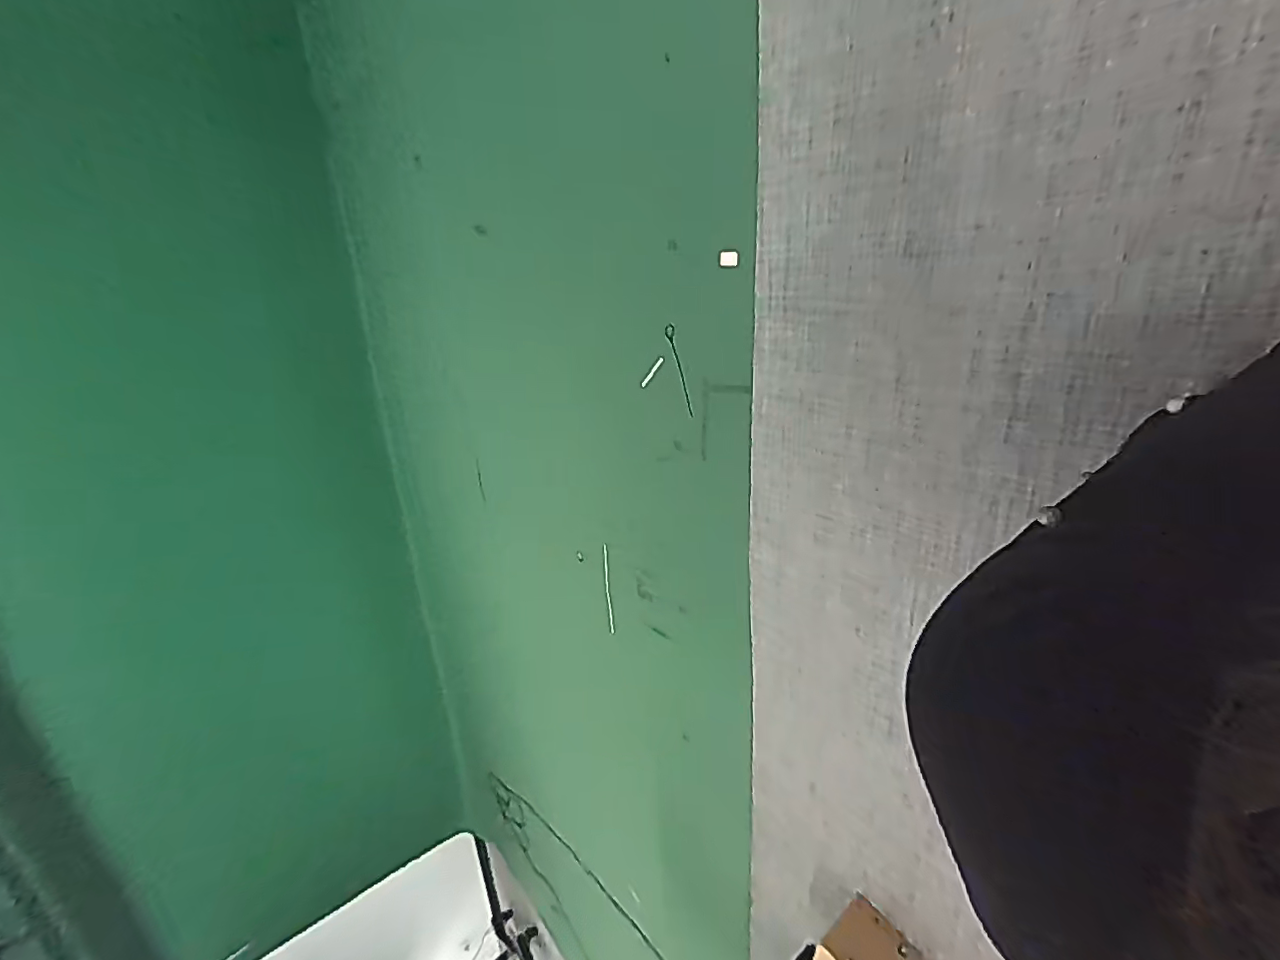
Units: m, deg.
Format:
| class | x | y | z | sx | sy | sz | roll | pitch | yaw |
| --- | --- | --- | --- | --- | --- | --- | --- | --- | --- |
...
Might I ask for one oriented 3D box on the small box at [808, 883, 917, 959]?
| class | x | y | z | sx | sy | sz | roll | pitch | yaw |
| --- | --- | --- | --- | --- | --- | --- | --- | --- | --- |
| small box | 0.527 | 1.119 | 1.282 | 0.168 | 0.176 | 0.179 | 30 | 128 | 44 |
